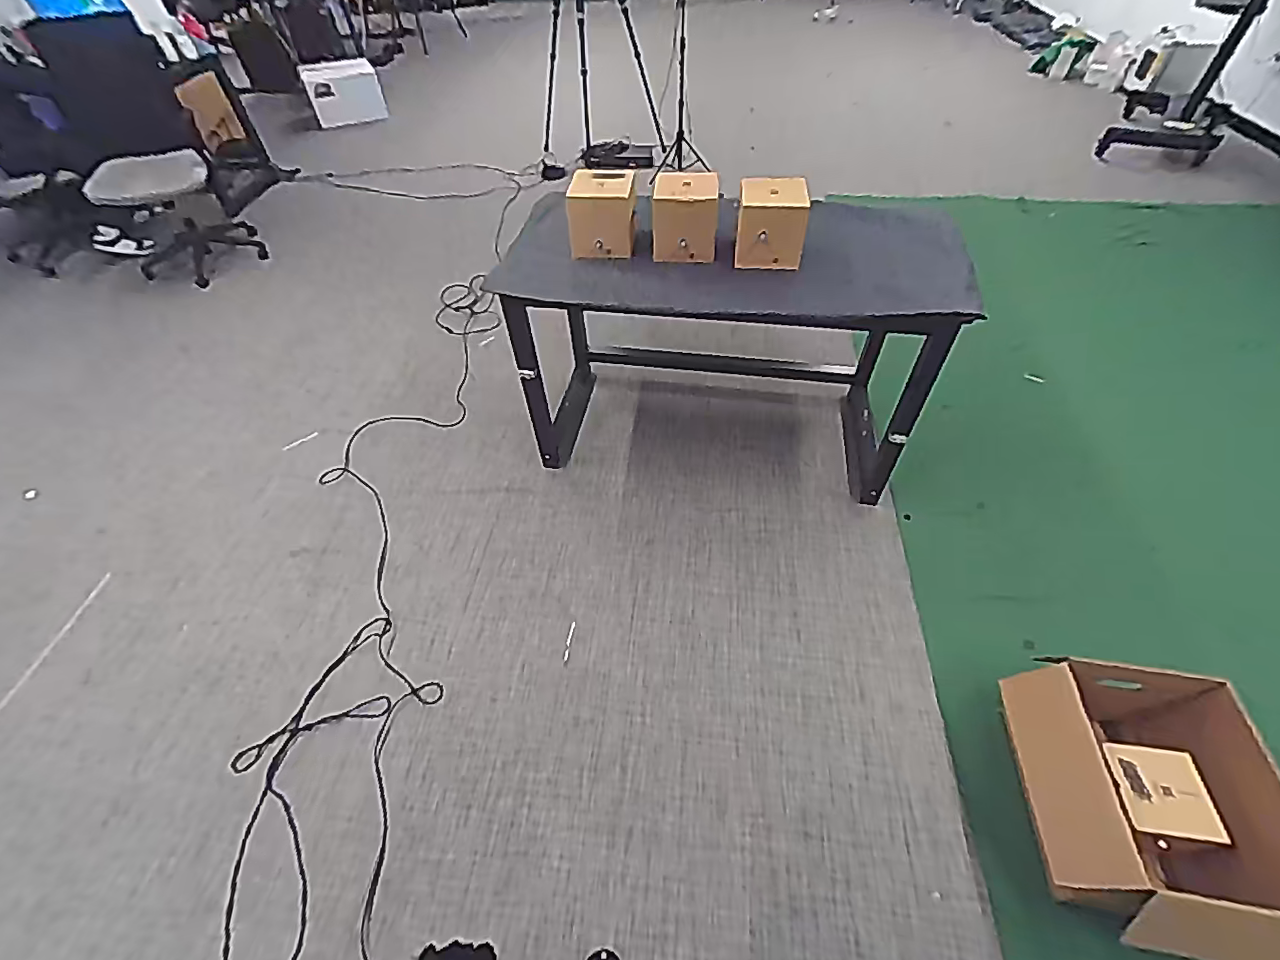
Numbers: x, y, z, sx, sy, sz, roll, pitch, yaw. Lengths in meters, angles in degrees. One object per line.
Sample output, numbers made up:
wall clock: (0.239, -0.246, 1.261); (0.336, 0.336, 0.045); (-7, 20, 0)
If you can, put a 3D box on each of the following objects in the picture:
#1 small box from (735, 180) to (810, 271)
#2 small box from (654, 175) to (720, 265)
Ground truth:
small box: (0.344, -0.668, 1.426); (0.168, 0.176, 0.179); (3, 49, 6)
small box: (0.126, -0.705, 1.464); (0.168, 0.176, 0.179); (3, 49, 5)
